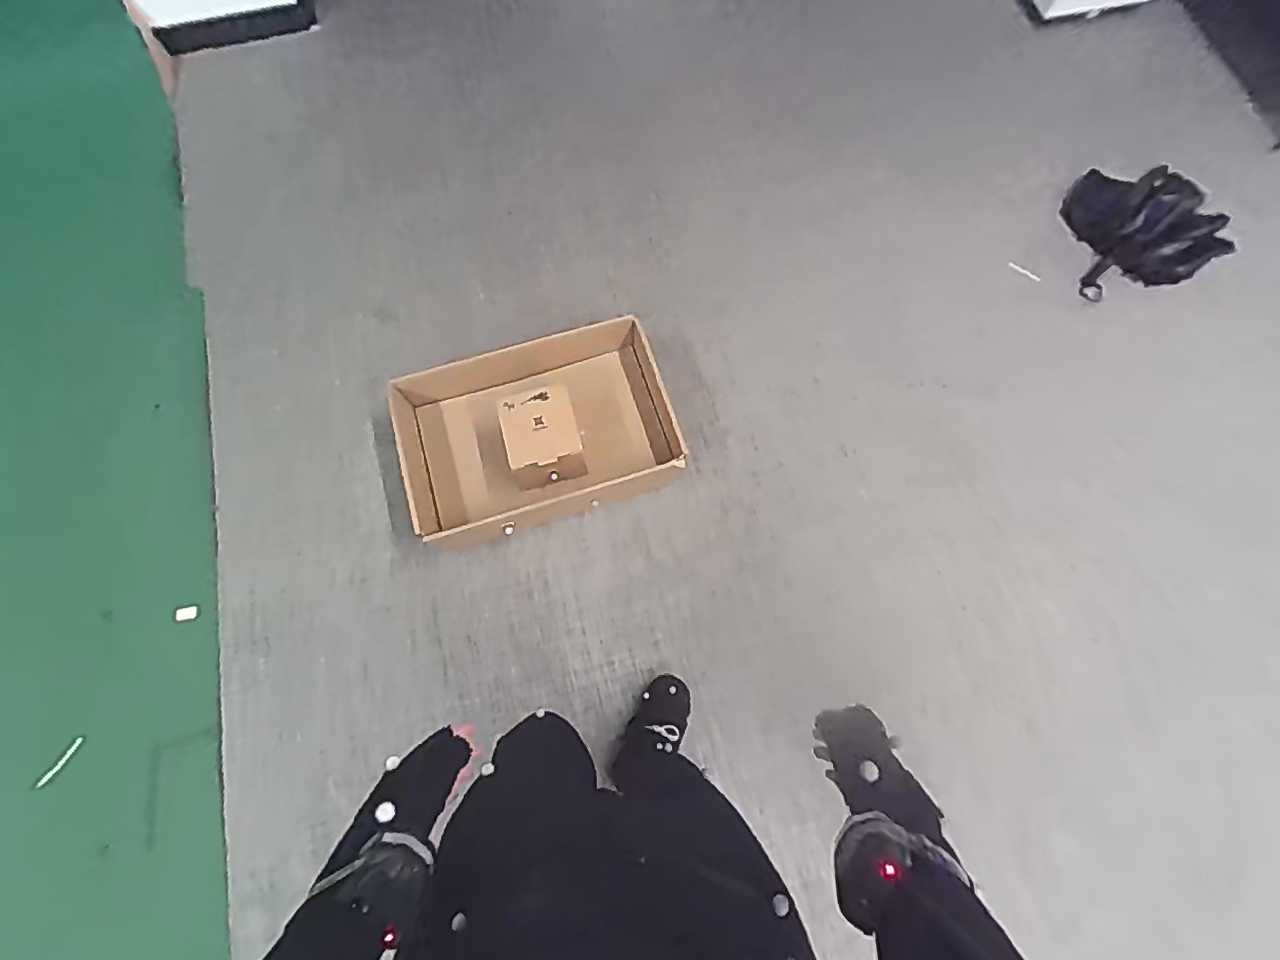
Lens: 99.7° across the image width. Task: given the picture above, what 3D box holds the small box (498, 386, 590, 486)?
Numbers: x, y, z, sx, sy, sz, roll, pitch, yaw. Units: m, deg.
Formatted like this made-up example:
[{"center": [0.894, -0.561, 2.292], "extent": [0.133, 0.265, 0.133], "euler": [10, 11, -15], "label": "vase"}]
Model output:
[{"center": [-0.221, -0.094, 1.283], "extent": [0.168, 0.176, 0.179], "euler": [-15, 75, -4], "label": "small box"}]
